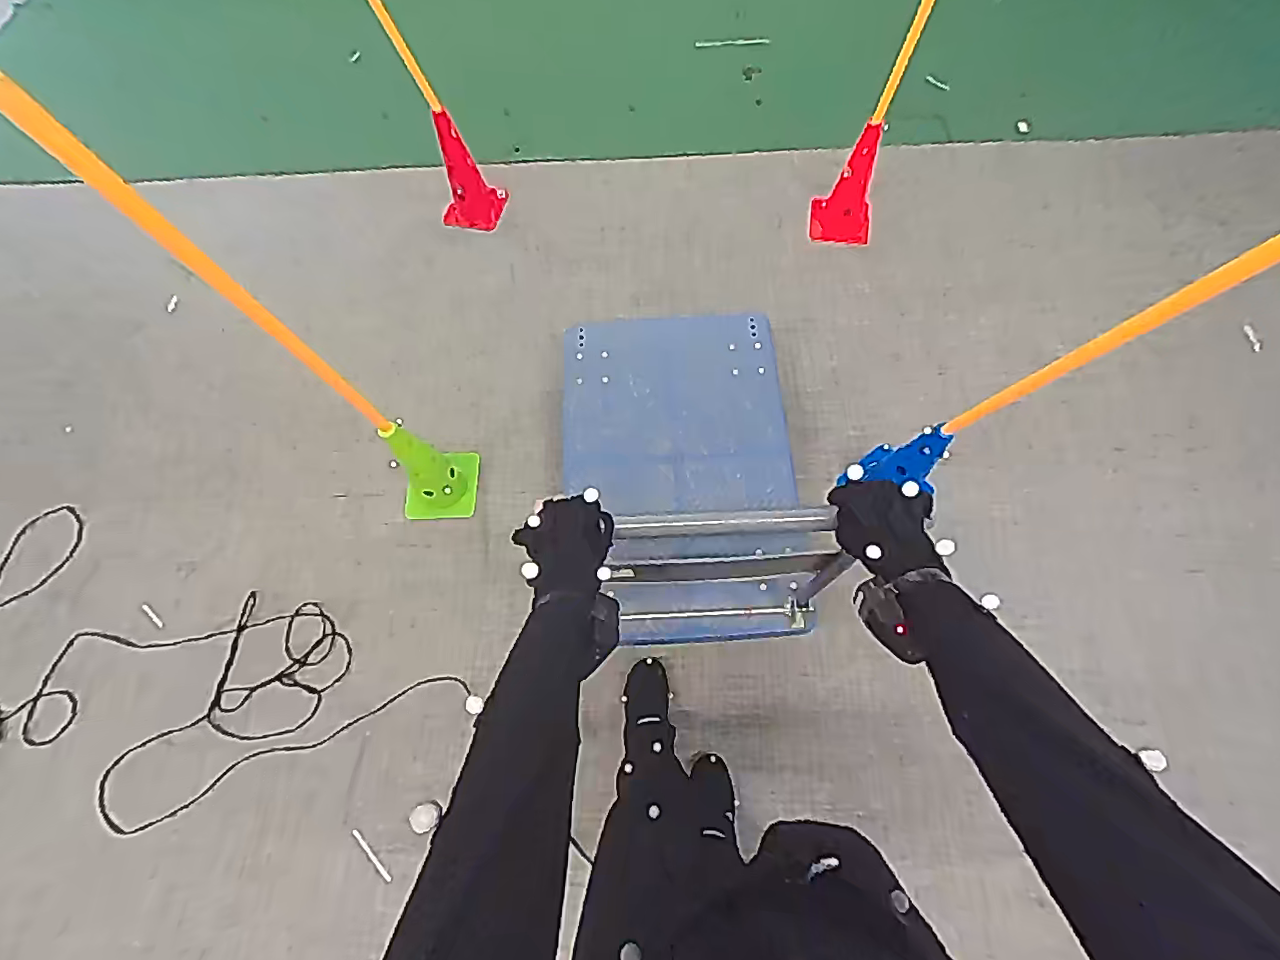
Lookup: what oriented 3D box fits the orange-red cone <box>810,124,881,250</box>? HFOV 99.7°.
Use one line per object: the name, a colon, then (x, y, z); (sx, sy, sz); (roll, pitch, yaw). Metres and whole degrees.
orange-red cone: (0.681, -0.935, 1.702); (0.198, 0.360, 0.199); (9, 69, 8)
